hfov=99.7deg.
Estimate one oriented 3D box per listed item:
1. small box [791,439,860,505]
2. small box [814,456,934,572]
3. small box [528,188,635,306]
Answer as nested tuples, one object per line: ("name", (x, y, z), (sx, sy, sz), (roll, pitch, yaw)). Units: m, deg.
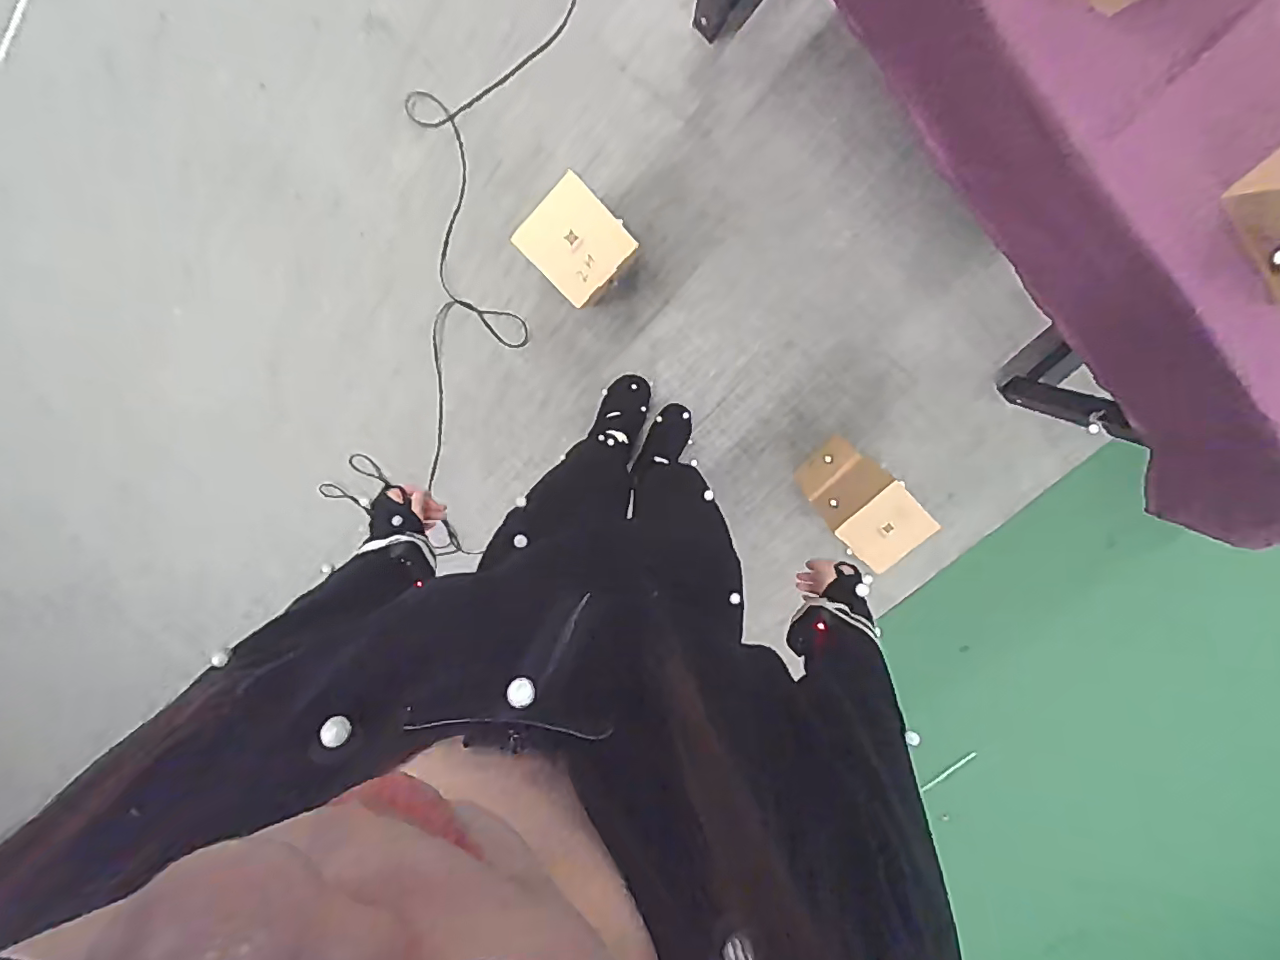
("small box", (0.524, 0.012, 1.415), (0.179, 0.176, 0.168), (40, 106, -14))
("small box", (0.532, 0.074, 1.265), (0.168, 0.176, 0.179), (42, 105, -15))
("small box", (-0.123, -0.516, 1.220), (0.168, 0.176, 0.179), (43, 104, -14))
